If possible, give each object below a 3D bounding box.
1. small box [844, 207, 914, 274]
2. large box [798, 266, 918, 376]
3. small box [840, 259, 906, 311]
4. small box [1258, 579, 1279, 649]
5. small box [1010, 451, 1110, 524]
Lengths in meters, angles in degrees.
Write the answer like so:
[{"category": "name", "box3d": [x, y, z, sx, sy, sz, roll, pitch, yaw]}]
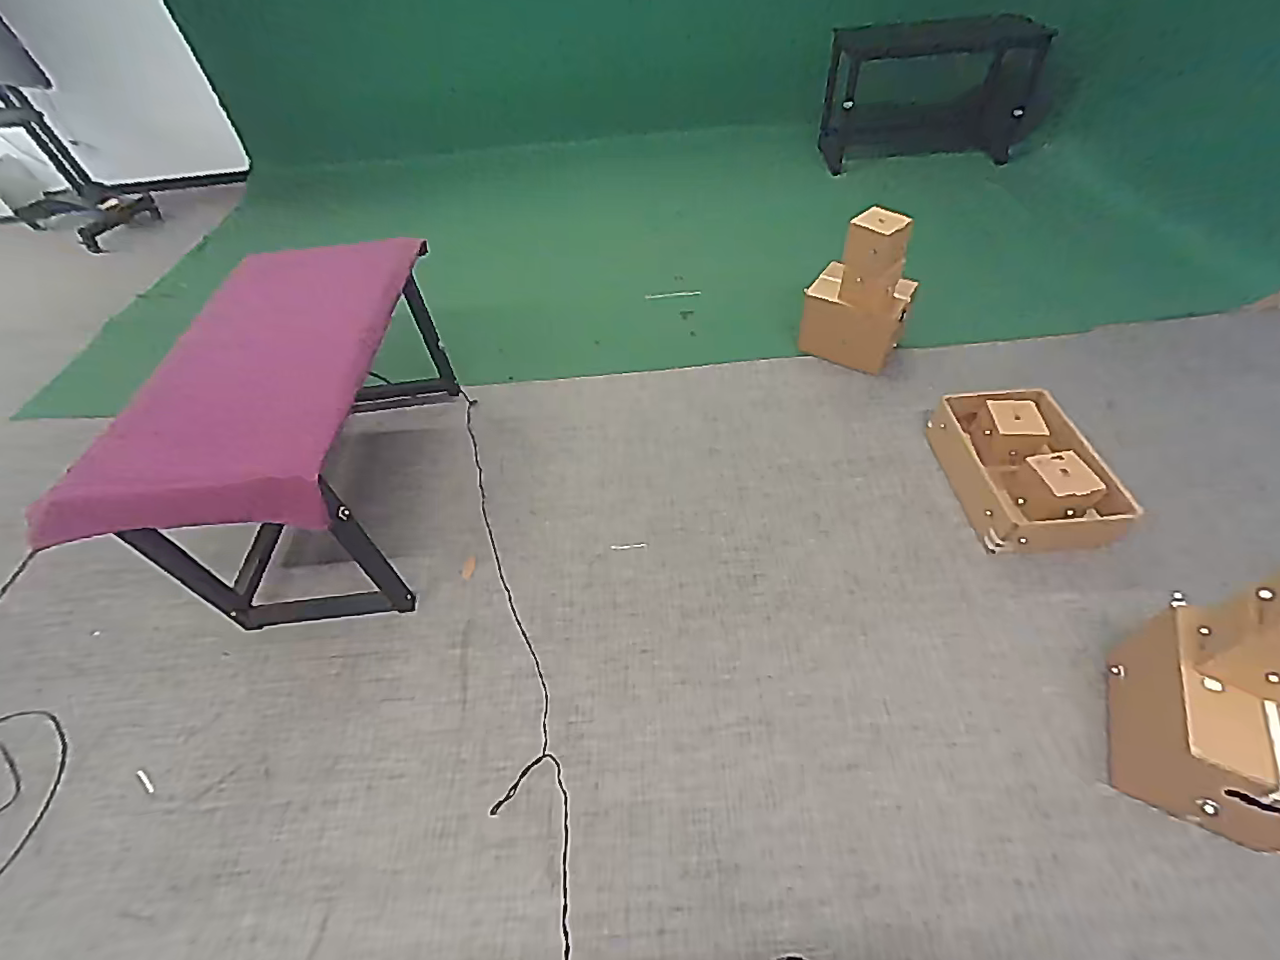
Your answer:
[{"category": "small box", "box3d": [0.937, -0.941, 2.134, 0.168, 0.176, 0.179, -35, 54, -21]}, {"category": "large box", "box3d": [0.990, -0.732, 2.487, 0.408, 0.320, 0.320, 25, 55, 26]}, {"category": "small box", "box3d": [0.965, -0.831, 2.252, 0.168, 0.176, 0.179, -39, 56, -22]}, {"category": "small box", "box3d": [1.375, 0.261, 1.043, 0.179, 0.176, 0.168, 27, 57, 28]}, {"category": "small box", "box3d": [1.390, 0.032, 1.802, 0.168, 0.176, 0.179, -8, 49, 0]}]
